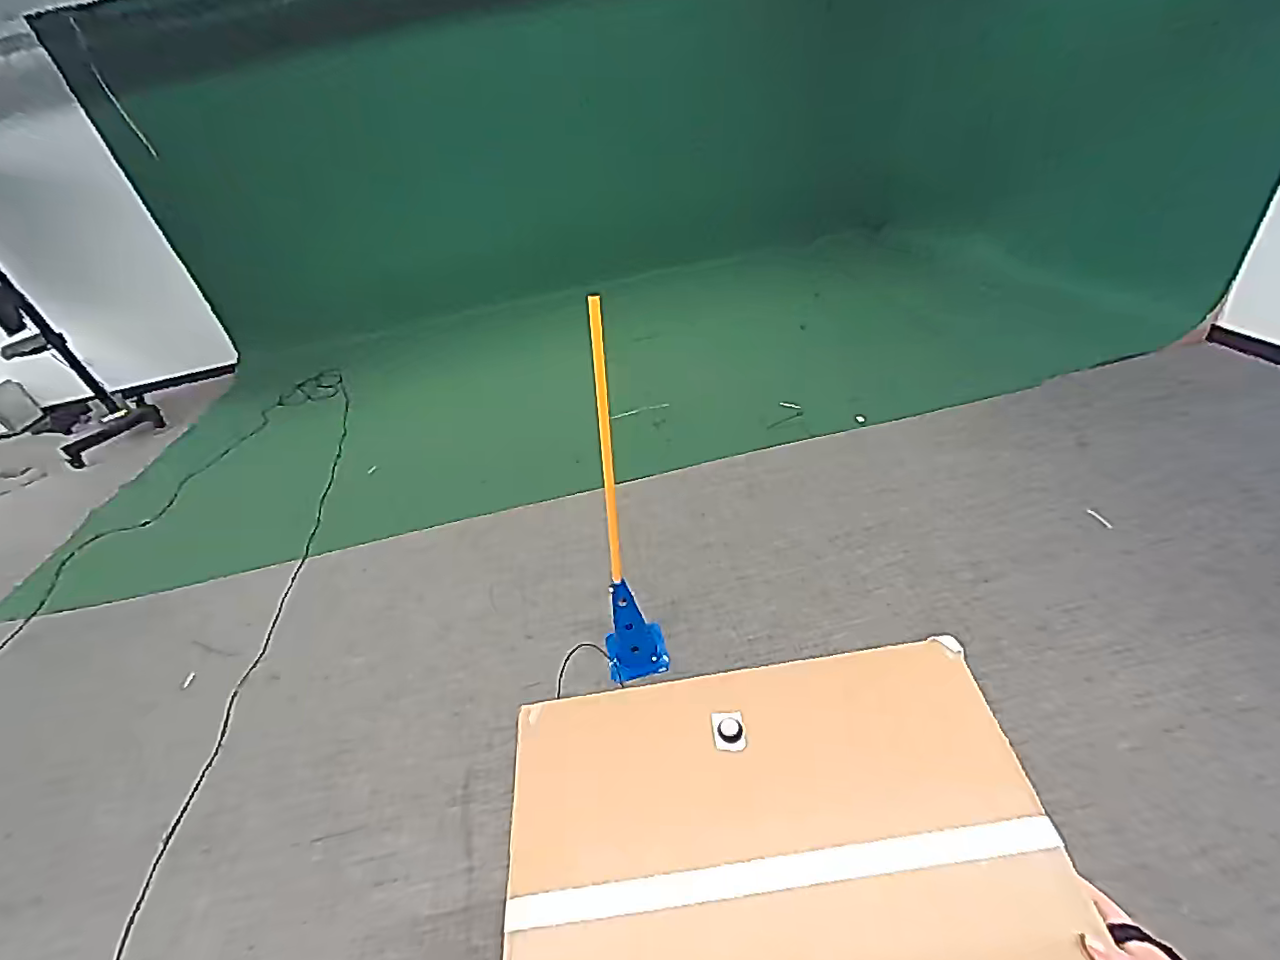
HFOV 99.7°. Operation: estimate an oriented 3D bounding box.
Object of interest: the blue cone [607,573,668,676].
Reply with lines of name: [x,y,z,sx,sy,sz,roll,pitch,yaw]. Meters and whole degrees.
blue cone: [-0.036,0.431,1.727,0.193,0.380,0.192,-14,36,-5]
